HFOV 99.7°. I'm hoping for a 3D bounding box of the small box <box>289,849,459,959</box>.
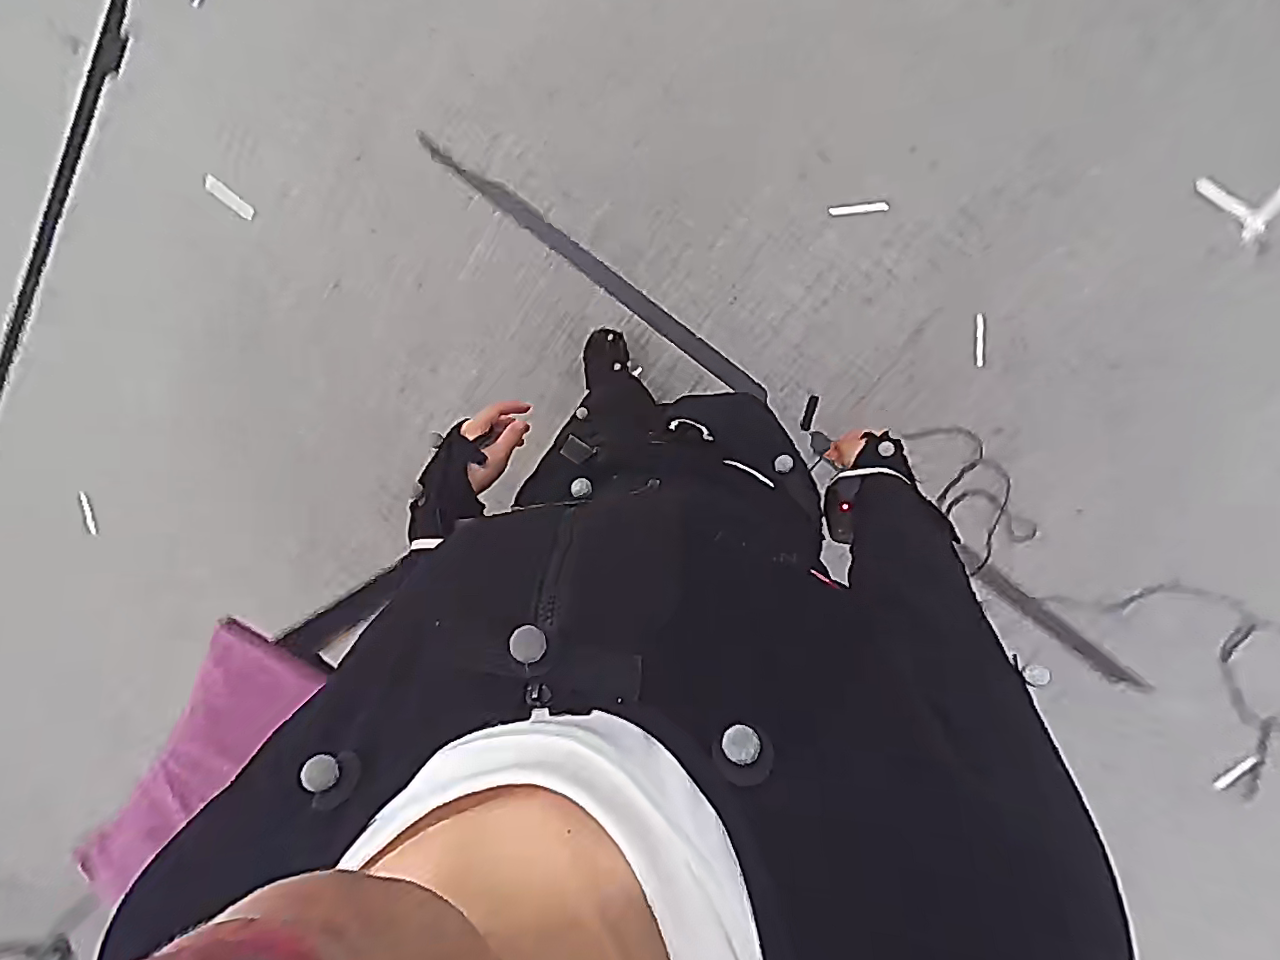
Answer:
[{"bbox_3d":[-0.380,0.664,0.734,0.168,0.176,0.179,38,104,-1],"label":"small box"}]
